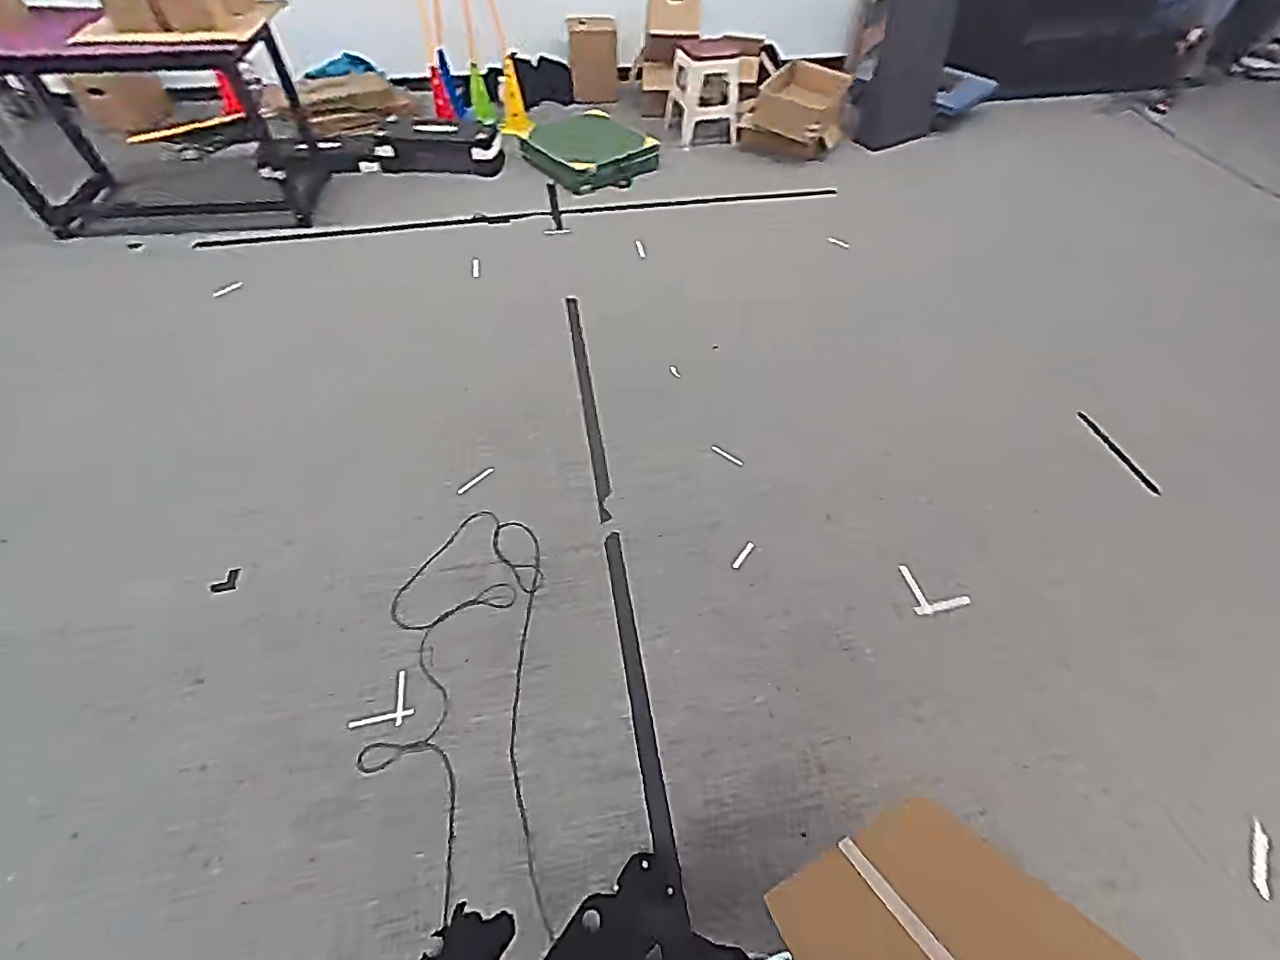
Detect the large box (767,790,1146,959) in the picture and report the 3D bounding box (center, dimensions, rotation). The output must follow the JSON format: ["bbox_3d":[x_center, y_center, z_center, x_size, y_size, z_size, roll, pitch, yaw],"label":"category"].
[{"bbox_3d":[0.426,0.696,0.674,0.320,0.408,0.320,-30,91,-8],"label":"large box"}]
